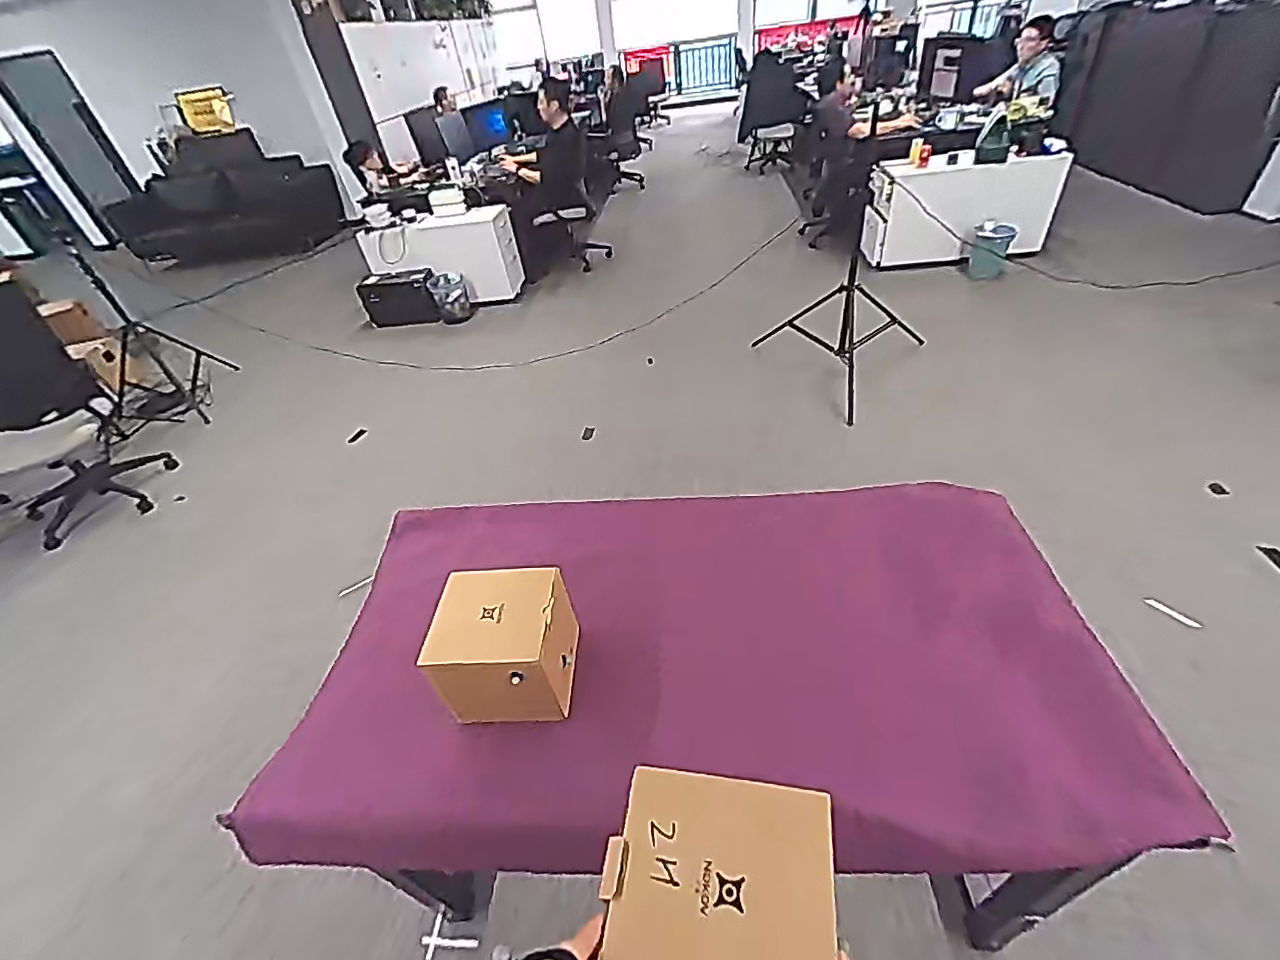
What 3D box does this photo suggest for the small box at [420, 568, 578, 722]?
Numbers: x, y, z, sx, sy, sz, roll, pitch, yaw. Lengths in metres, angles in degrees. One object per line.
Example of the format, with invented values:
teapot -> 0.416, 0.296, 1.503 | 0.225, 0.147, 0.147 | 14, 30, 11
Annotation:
small box -> -0.203, 0.257, 0.835 | 0.179, 0.176, 0.168 | -4, 40, 5

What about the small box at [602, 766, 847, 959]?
small box -> 0.081, 0.379, 0.474 | 0.179, 0.176, 0.168 | -1, 41, 15
